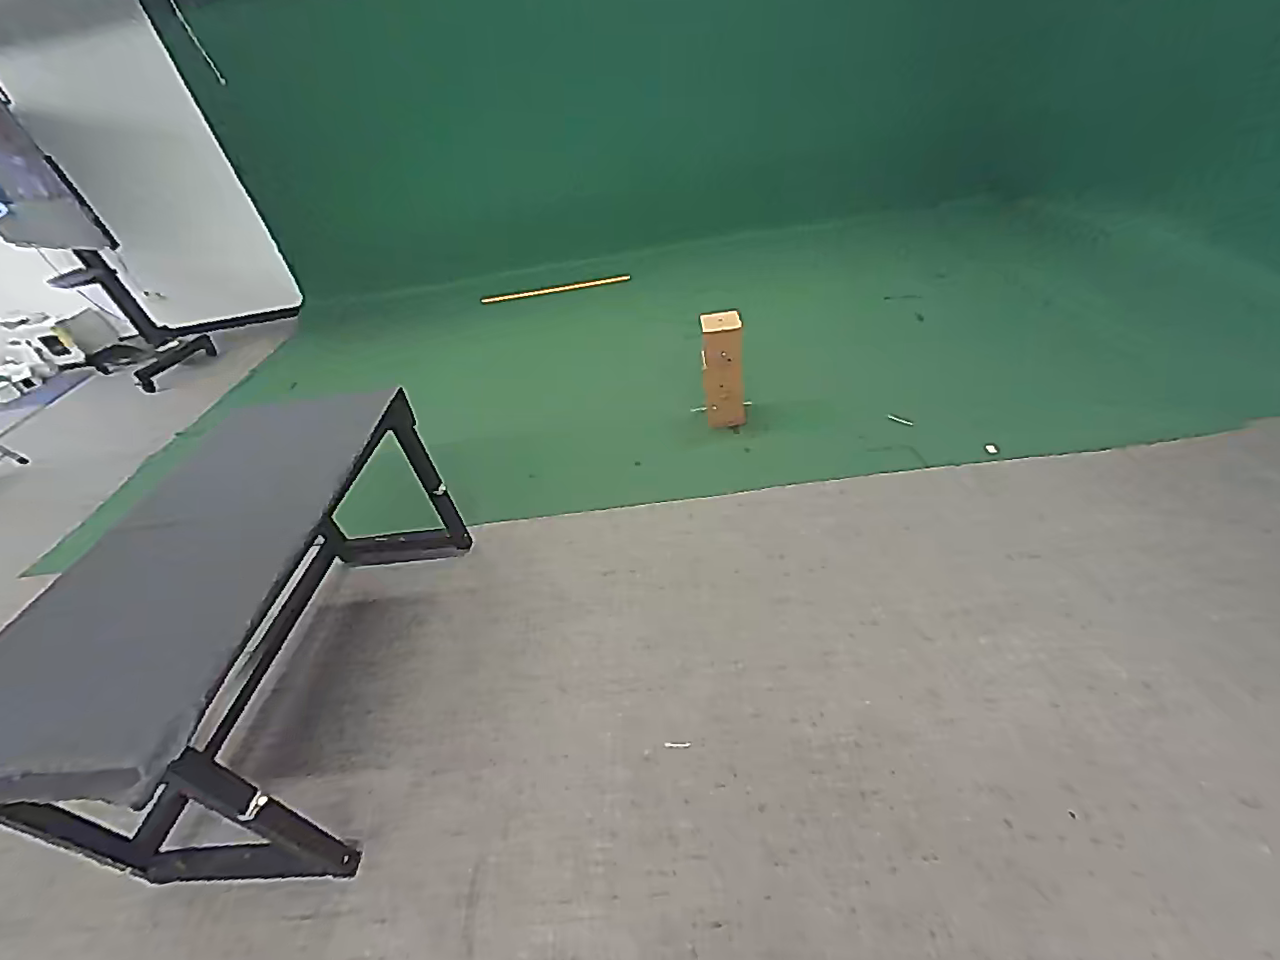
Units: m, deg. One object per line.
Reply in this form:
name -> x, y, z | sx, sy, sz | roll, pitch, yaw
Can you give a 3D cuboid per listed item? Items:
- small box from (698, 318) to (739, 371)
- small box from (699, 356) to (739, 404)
small box -> 0.350, -0.602, 2.403 | 0.168, 0.176, 0.179 | -6, 39, 5
small box -> 0.365, -0.471, 2.503 | 0.168, 0.176, 0.179 | -6, 39, 4
